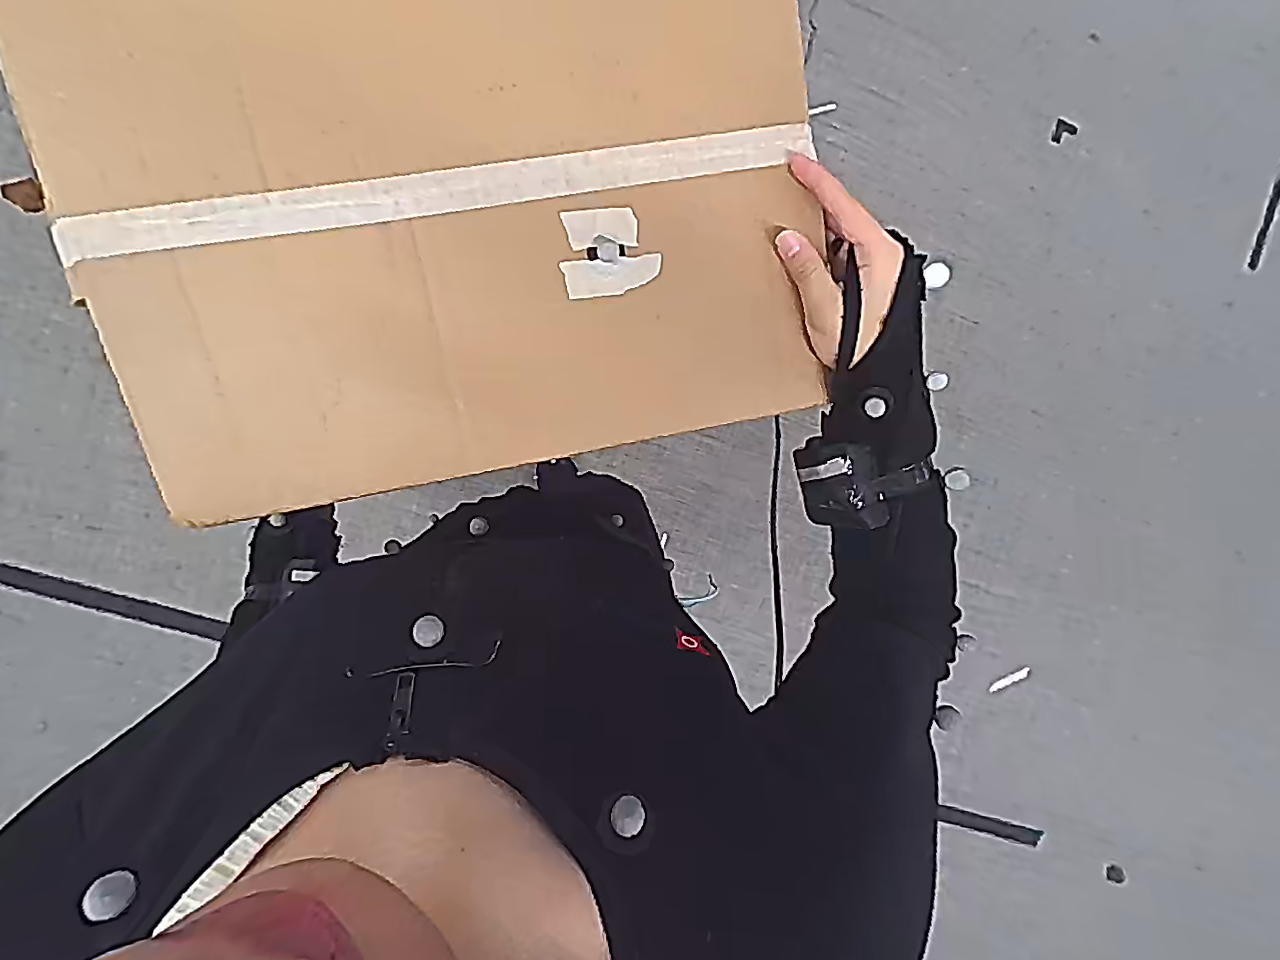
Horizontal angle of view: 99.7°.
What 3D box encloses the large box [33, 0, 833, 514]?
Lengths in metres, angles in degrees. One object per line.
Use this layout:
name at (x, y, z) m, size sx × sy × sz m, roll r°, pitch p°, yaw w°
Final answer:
large box at (-0.112, -0.190, 0.457) m, size 0.408 × 0.320 × 0.320 m, roll -12°, pitch 103°, yaw -9°
